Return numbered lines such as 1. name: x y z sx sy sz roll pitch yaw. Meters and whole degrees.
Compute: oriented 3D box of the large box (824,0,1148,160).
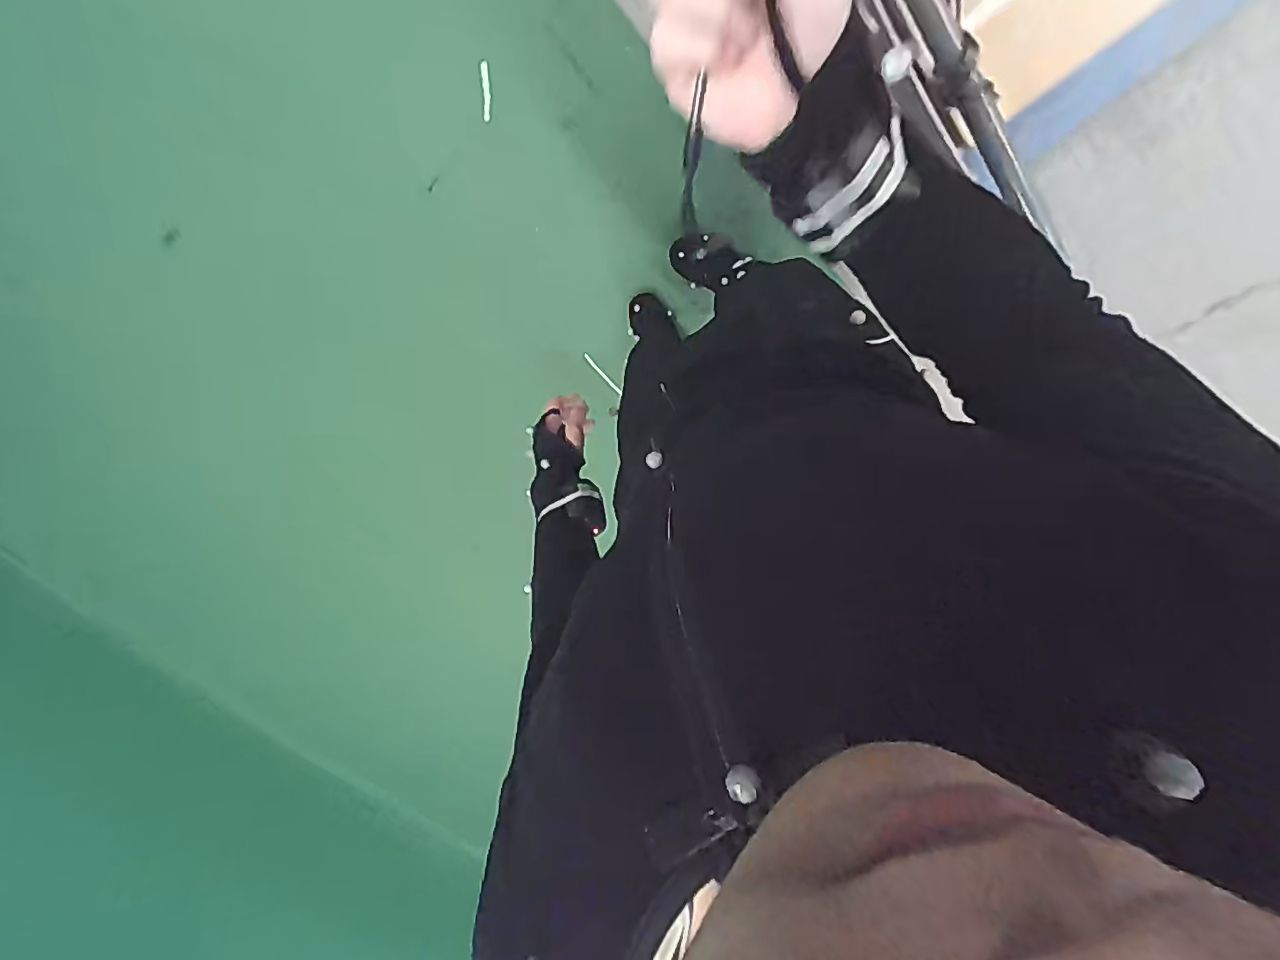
1. large box: 0.591 -0.829 0.910 0.408 0.320 0.320 -35 109 20
